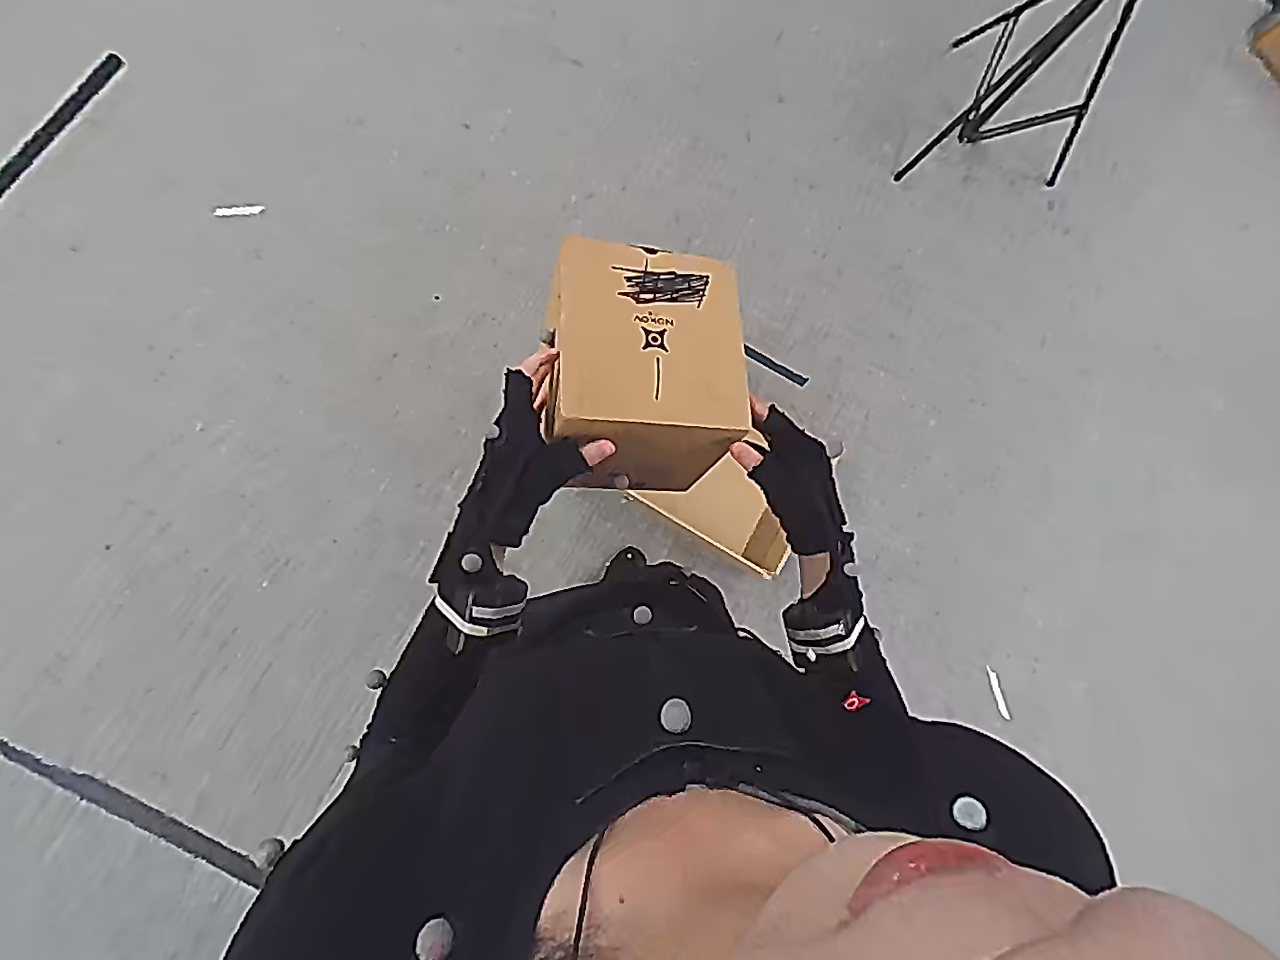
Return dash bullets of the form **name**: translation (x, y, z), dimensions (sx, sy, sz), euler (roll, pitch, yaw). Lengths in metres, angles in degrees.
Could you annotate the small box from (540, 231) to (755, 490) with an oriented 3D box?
- **small box**: translation (-0.008, -0.102, 0.528), dimensions (0.168, 0.176, 0.179), euler (2, 70, -15)
